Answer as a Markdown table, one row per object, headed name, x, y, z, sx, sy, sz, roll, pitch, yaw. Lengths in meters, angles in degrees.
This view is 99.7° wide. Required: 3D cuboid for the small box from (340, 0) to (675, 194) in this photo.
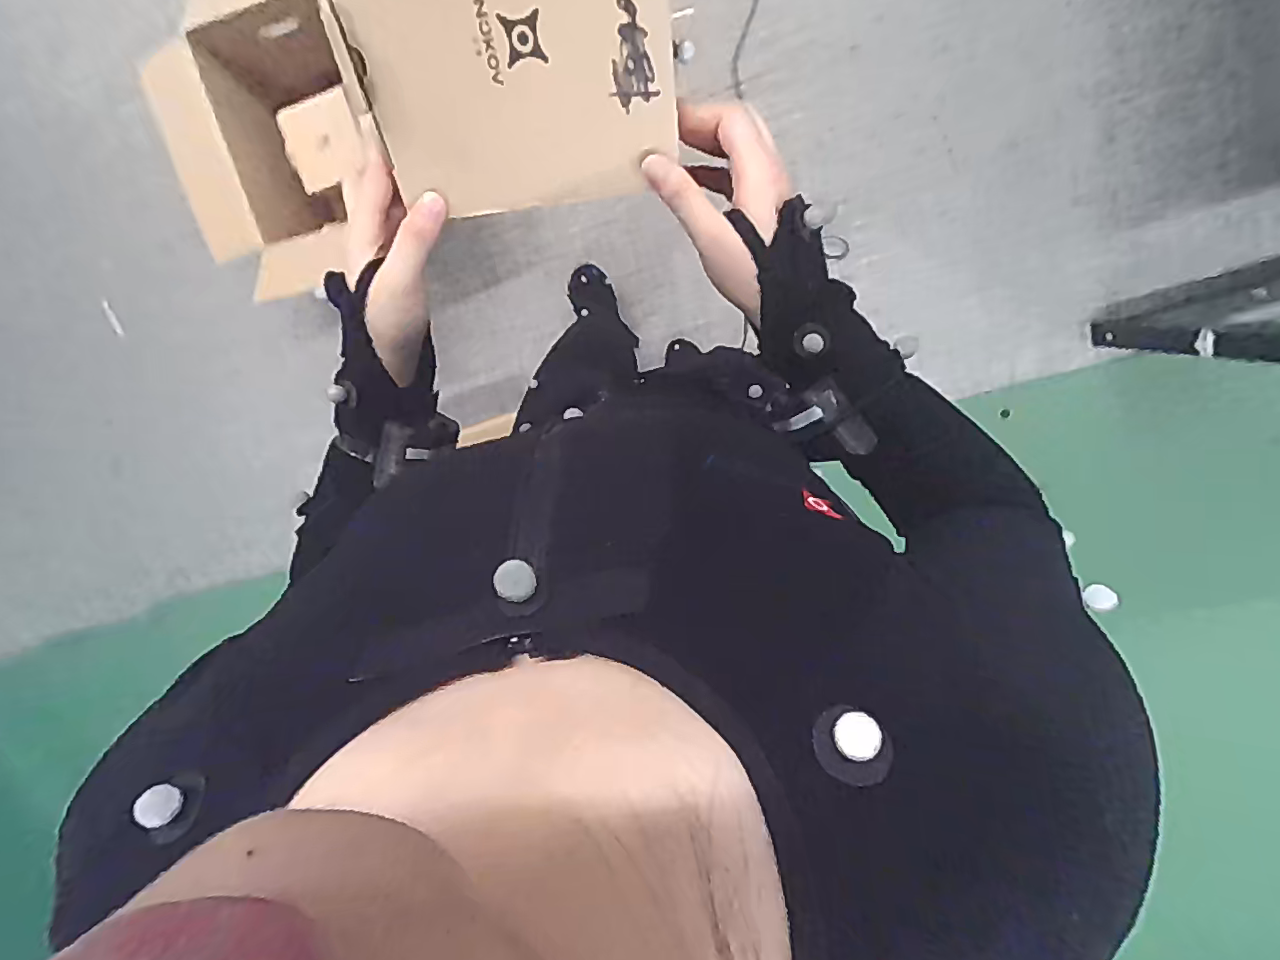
| name | x | y | z | sx | sy | sz | roll | pitch | yaw |
| --- | --- | --- | --- | --- | --- | --- | --- | --- | --- |
| small box | -0.069 | -0.299 | 0.348 | 0.179 | 0.176 | 0.168 | -4 | 130 | 6 |
